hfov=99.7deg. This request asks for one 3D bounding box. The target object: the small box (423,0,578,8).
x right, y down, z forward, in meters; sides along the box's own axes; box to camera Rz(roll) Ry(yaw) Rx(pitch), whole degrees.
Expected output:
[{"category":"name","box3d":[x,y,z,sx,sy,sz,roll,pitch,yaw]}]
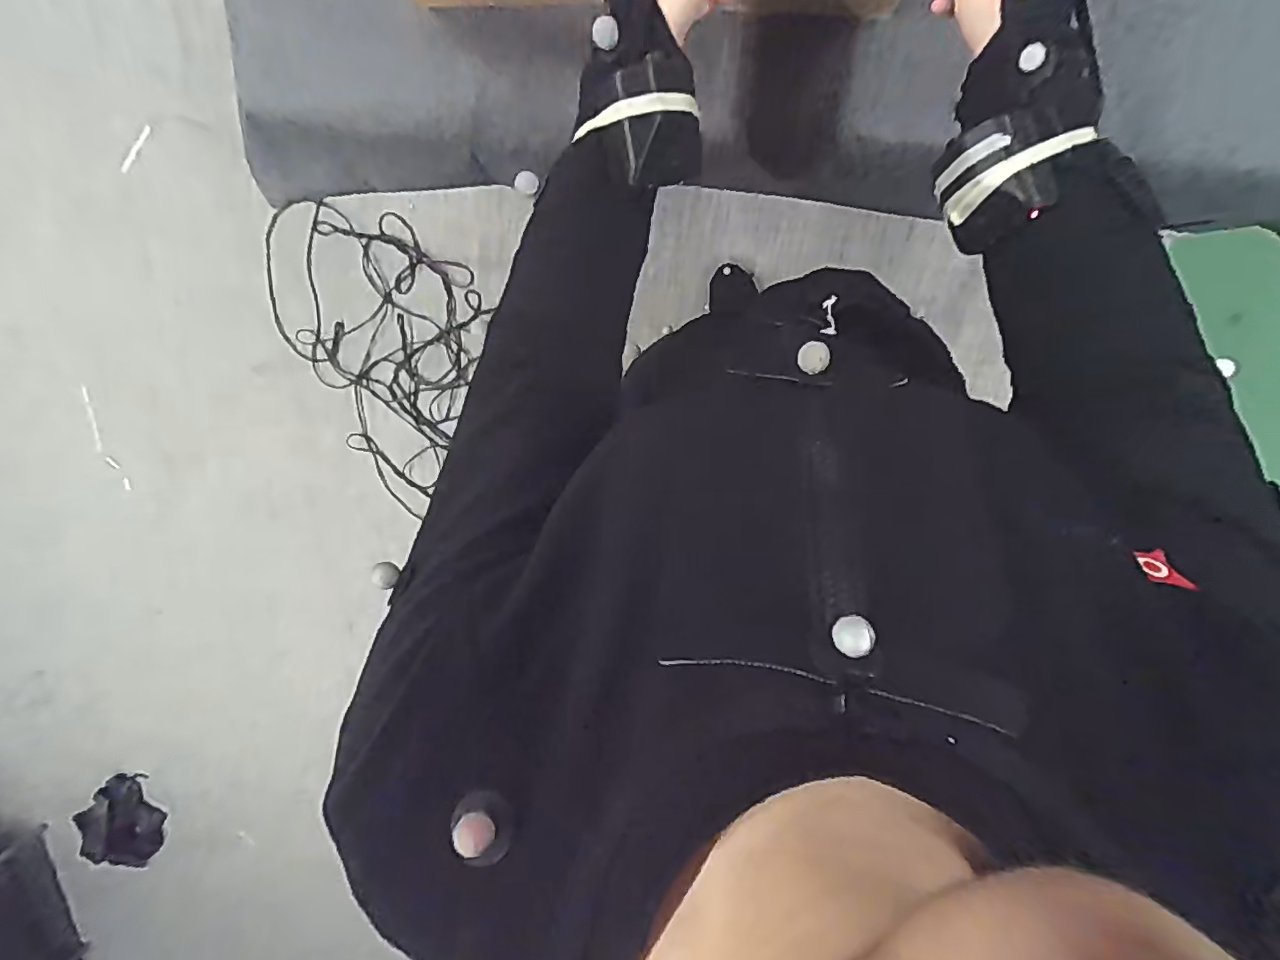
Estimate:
[{"category":"small box","box3d":[-0.122,-0.479,0.387,0.179,0.176,0.168,4,108,7]}]
